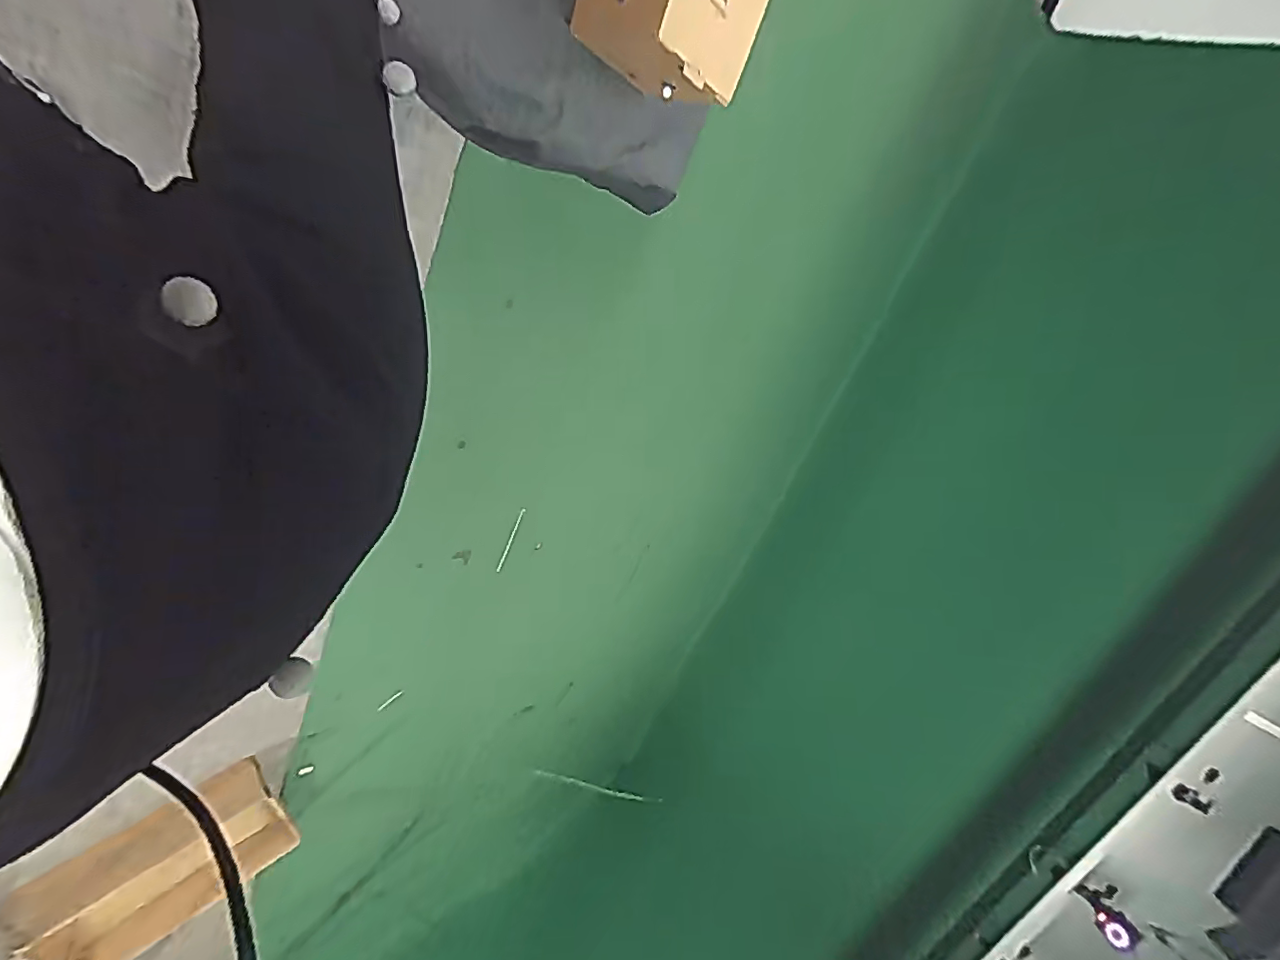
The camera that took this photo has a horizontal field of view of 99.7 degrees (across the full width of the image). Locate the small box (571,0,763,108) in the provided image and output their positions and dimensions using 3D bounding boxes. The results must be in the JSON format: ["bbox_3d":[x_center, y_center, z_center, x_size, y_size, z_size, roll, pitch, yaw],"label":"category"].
[{"bbox_3d":[0.036,-0.618,0.693,0.168,0.176,0.179,-6,122,-51],"label":"small box"}]
